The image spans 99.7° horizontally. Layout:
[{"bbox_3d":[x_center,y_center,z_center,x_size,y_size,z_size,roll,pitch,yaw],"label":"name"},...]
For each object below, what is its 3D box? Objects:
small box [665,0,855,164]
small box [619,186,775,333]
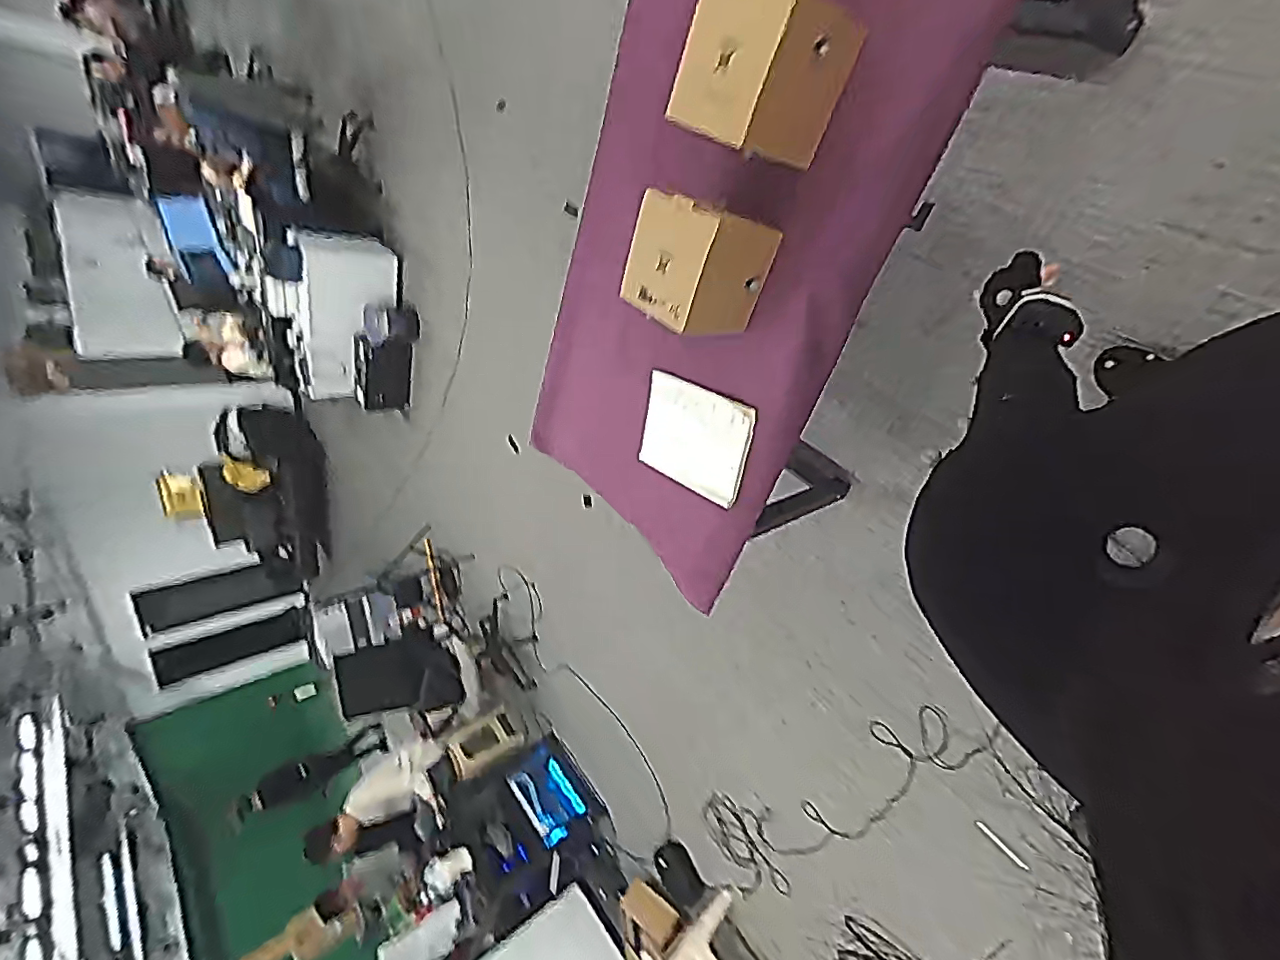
[{"bbox_3d":[0.169,-0.573,0.758,0.168,0.176,0.179,46,133,32],"label":"small box"},{"bbox_3d":[0.097,-0.360,0.900,0.168,0.176,0.179,43,129,33],"label":"small box"}]
